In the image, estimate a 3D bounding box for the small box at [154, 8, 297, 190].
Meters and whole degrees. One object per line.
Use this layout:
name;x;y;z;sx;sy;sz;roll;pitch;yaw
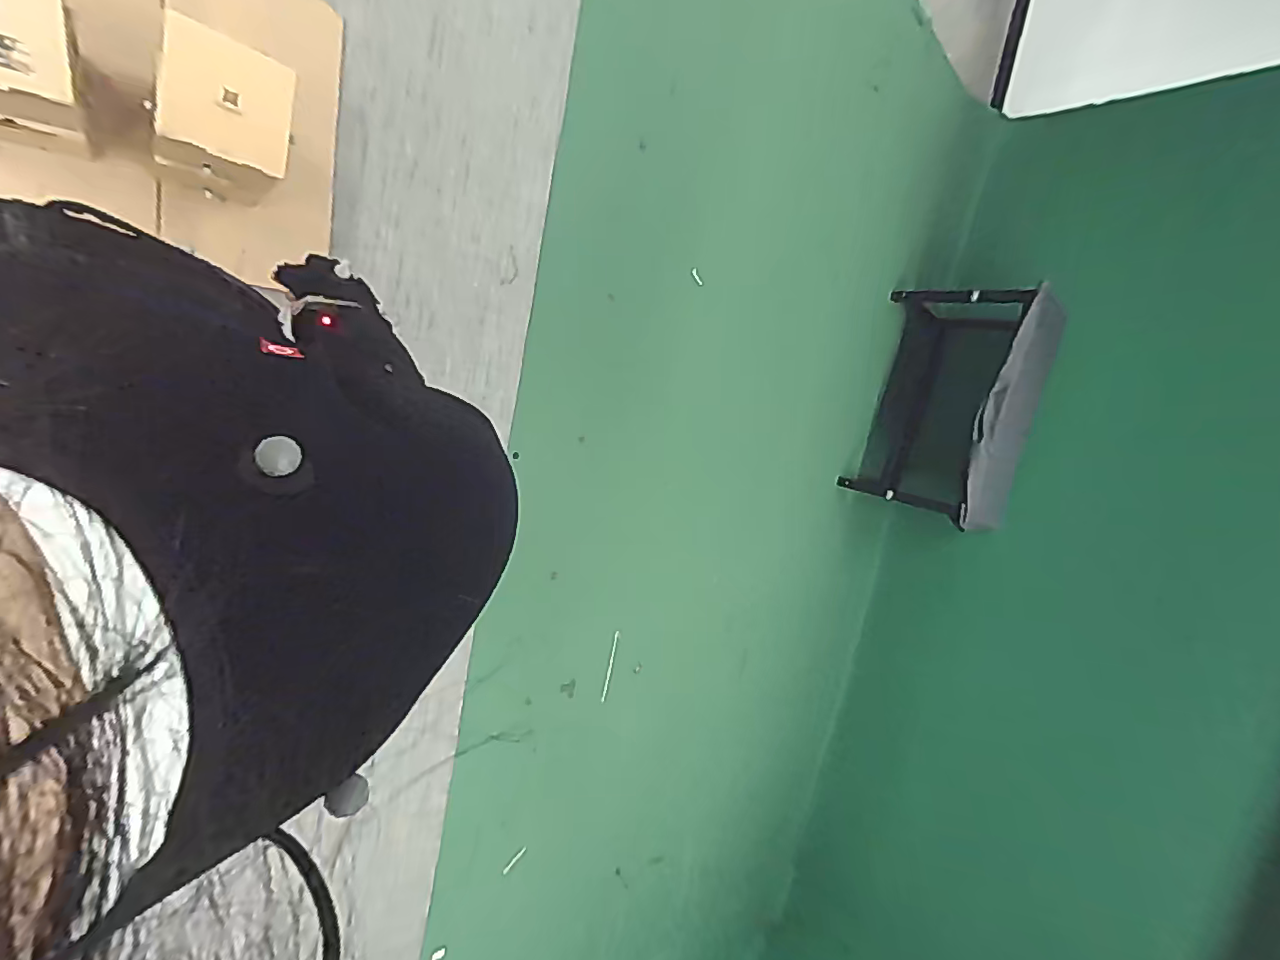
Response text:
small box;-0.696;-0.616;0.904;0.168;0.176;0.179;4;101;-44

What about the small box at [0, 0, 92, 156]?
small box;-0.988;-0.637;0.847;0.168;0.176;0.179;-5;106;-42

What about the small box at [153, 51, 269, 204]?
small box;-0.806;-0.647;1.020;0.168;0.176;0.179;1;103;-42
